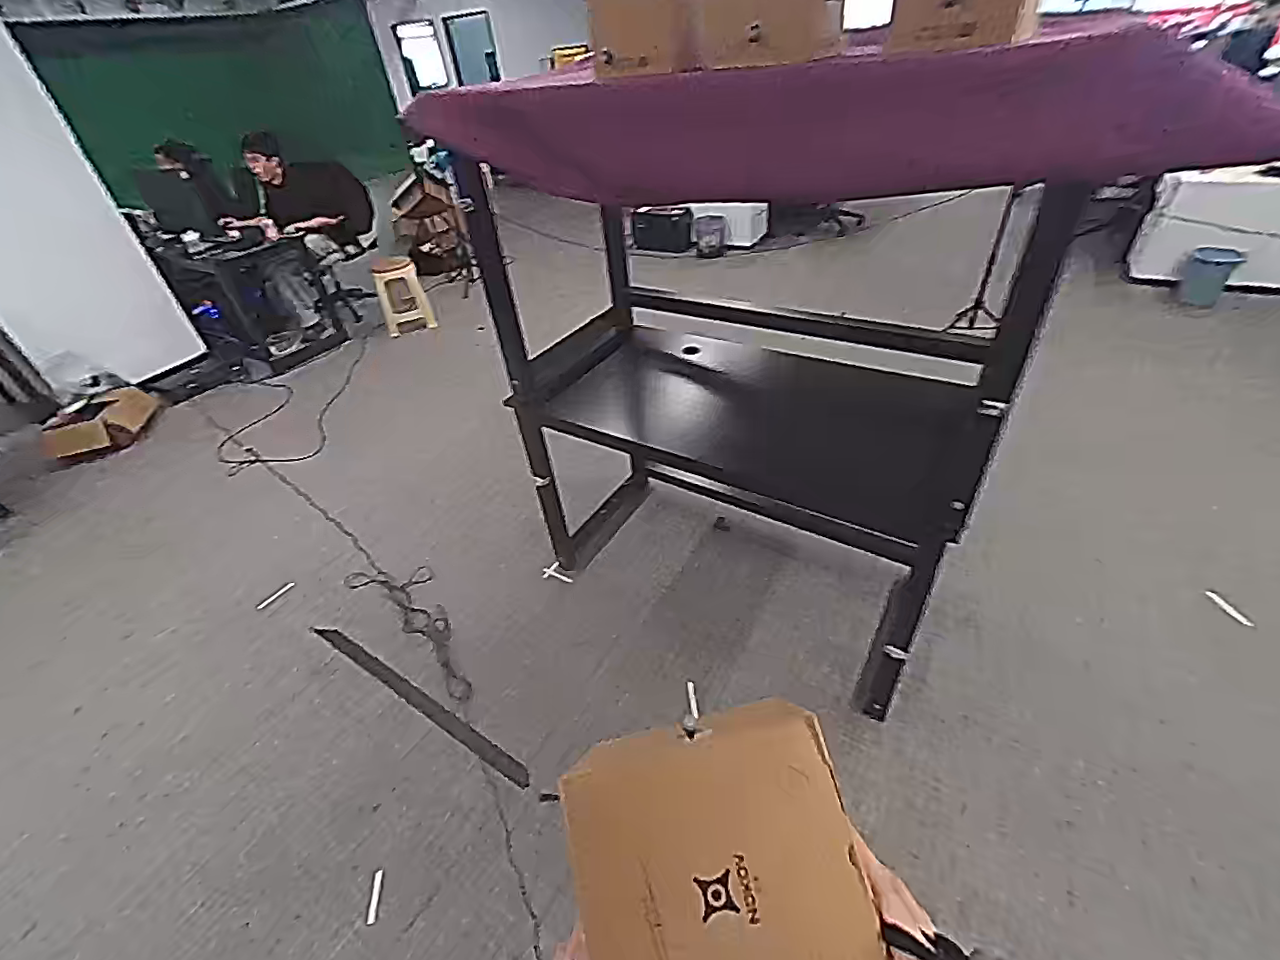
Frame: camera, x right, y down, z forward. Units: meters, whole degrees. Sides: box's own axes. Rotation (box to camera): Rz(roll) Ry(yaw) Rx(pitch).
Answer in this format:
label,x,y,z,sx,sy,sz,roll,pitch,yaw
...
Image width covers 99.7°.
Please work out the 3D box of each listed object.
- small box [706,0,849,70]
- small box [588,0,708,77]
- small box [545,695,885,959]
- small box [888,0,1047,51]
label,x,y,z,sx,sy,sz,roll,pitch,yaw
small box,0.216,-0.748,0.833,0.179,0.176,0.168,22,46,30
small box,0.024,-0.816,0.945,0.168,0.176,0.179,16,43,26
small box,0.045,0.263,0.397,0.179,0.176,0.168,-14,70,-1
small box,0.443,-0.676,0.707,0.168,0.176,0.179,20,46,31
